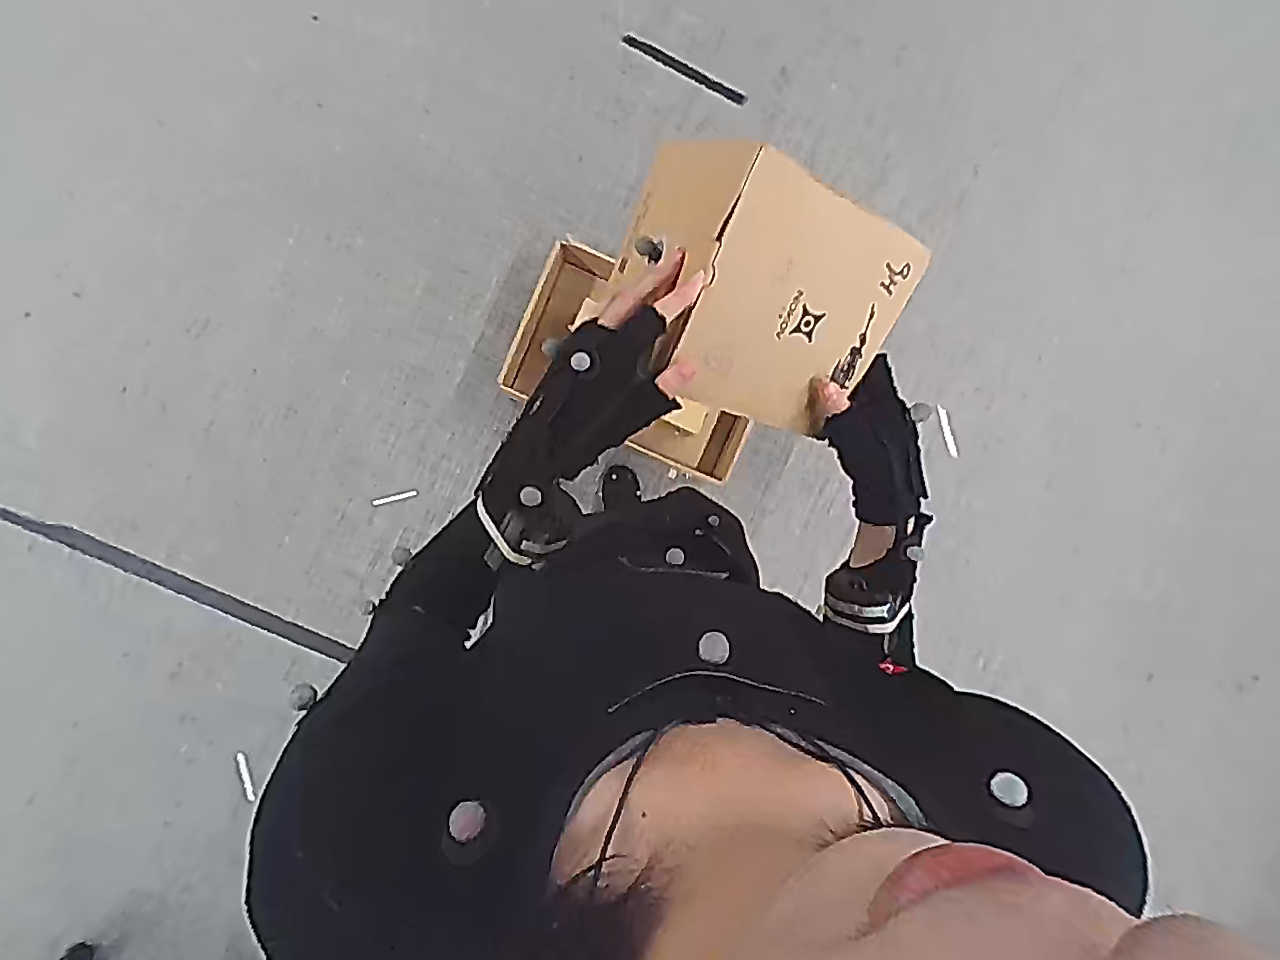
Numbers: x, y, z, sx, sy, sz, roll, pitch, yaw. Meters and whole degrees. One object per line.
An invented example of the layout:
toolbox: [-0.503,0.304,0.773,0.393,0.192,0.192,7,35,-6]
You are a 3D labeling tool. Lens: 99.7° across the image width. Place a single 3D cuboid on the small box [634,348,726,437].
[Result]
small box: [0.096,-0.217,1.387,0.179,0.176,0.168,23,90,-4]
